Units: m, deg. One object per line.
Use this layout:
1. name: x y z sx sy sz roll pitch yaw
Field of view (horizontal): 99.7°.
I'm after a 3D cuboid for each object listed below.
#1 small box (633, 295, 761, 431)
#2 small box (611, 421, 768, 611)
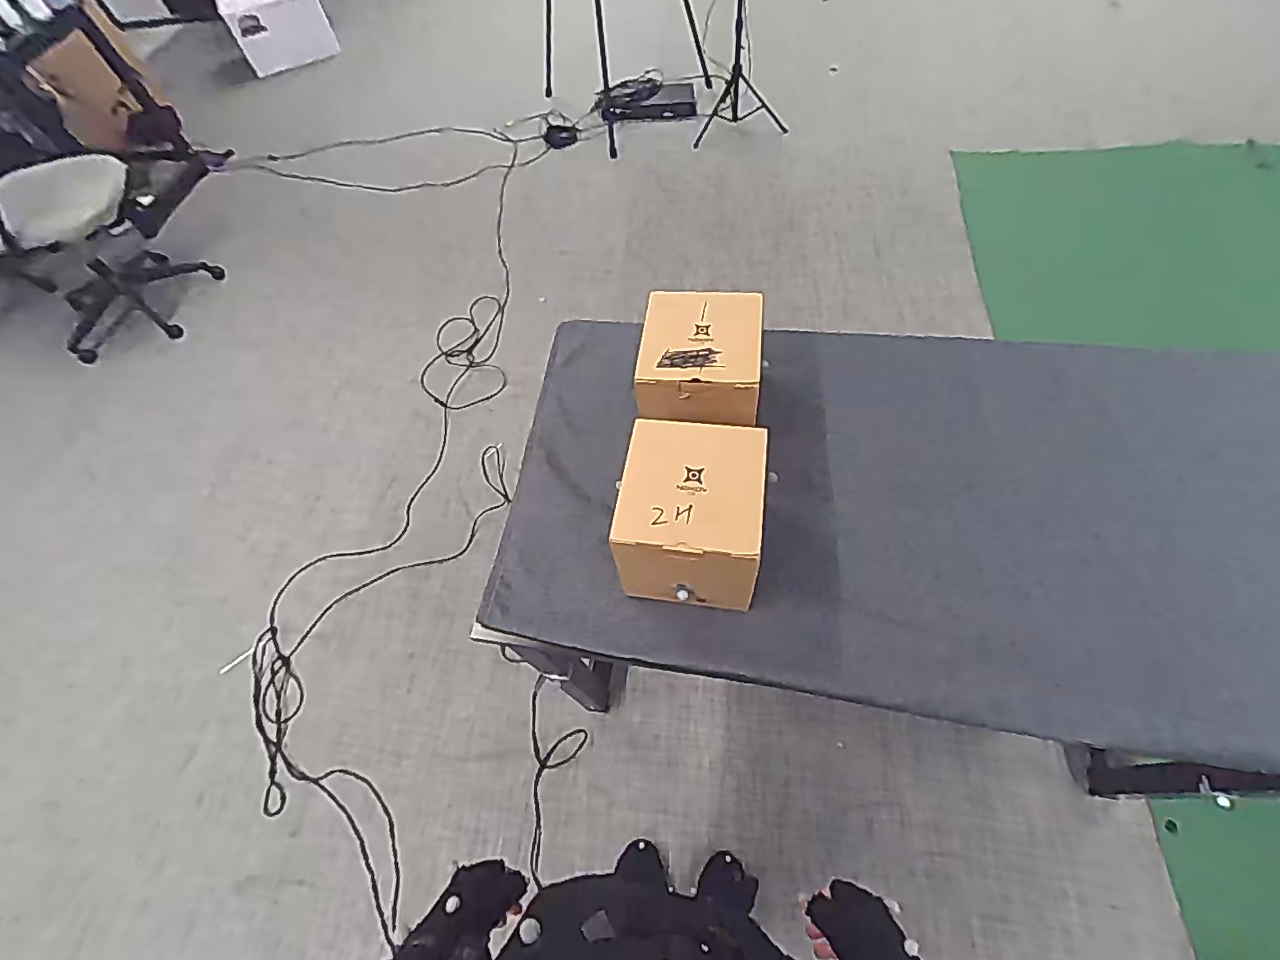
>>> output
1. small box: 0.090 -0.154 0.814 0.168 0.176 0.179 4 59 9
2. small box: 0.067 0.049 0.693 0.168 0.176 0.179 5 58 10
